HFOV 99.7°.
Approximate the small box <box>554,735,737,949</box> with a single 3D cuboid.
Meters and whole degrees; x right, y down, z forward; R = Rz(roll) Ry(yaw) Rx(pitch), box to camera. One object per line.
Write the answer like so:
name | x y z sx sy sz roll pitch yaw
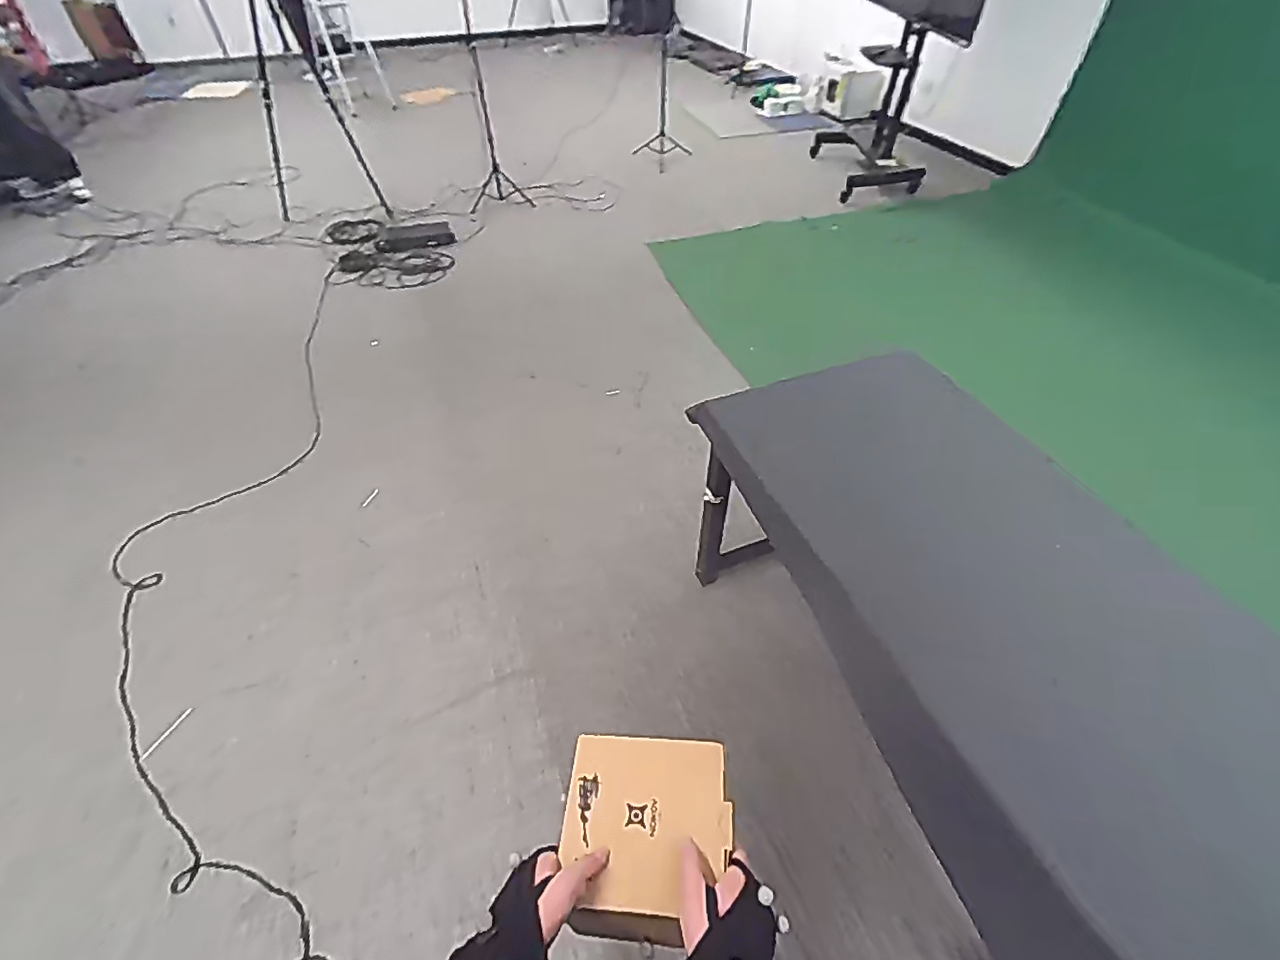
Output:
small box | 0.015 0.417 0.623 0.179 0.176 0.168 1 43 6
